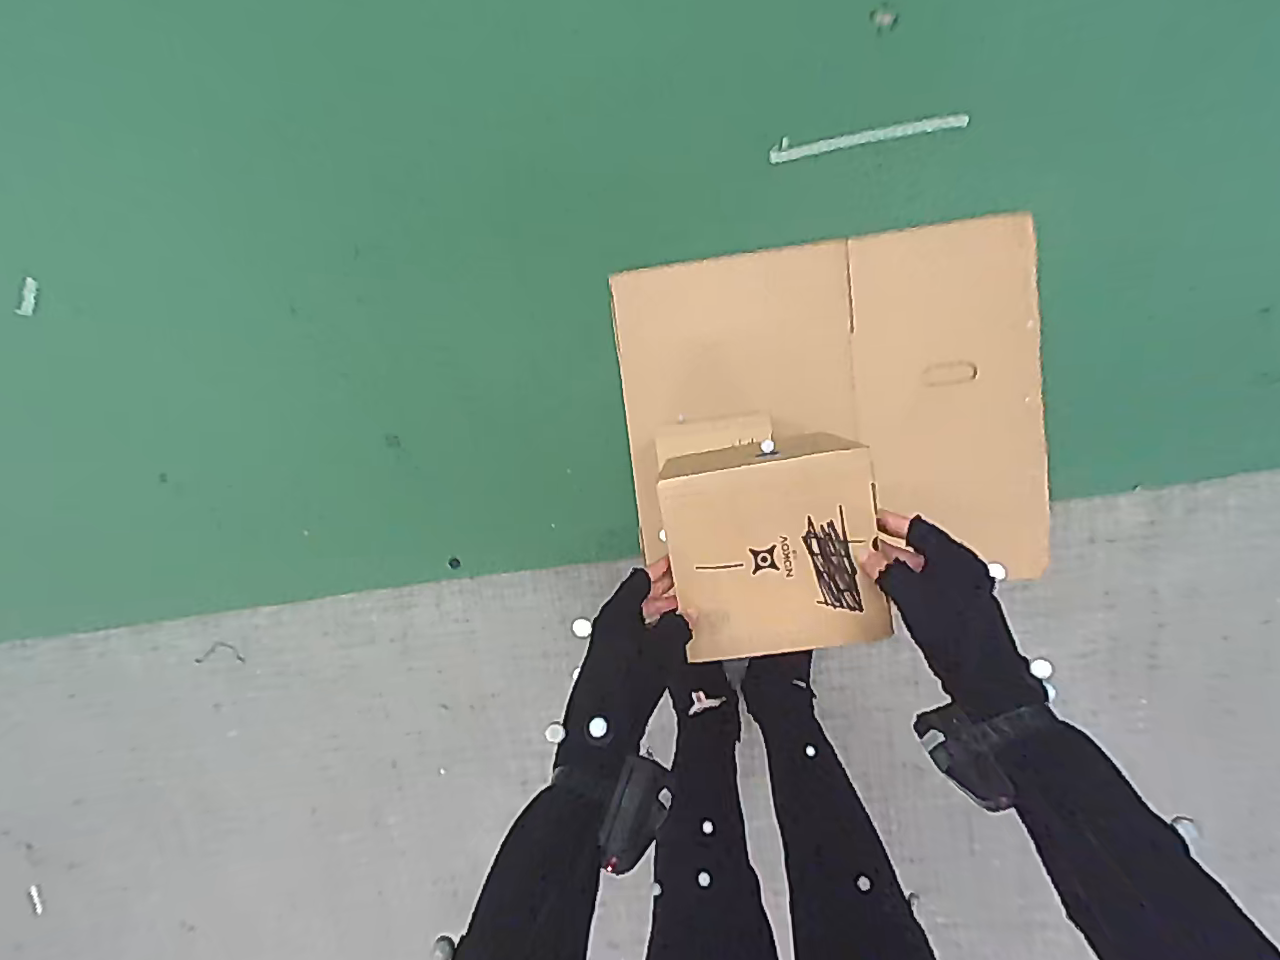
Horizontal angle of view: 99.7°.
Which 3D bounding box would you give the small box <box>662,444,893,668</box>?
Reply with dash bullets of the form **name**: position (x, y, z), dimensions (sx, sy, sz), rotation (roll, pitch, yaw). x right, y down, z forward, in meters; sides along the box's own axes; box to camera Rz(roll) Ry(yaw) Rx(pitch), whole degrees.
- **small box**: position (0.124, 0.062, 0.533), dimensions (0.179, 0.176, 0.168), rotation (-9, 97, 9)
